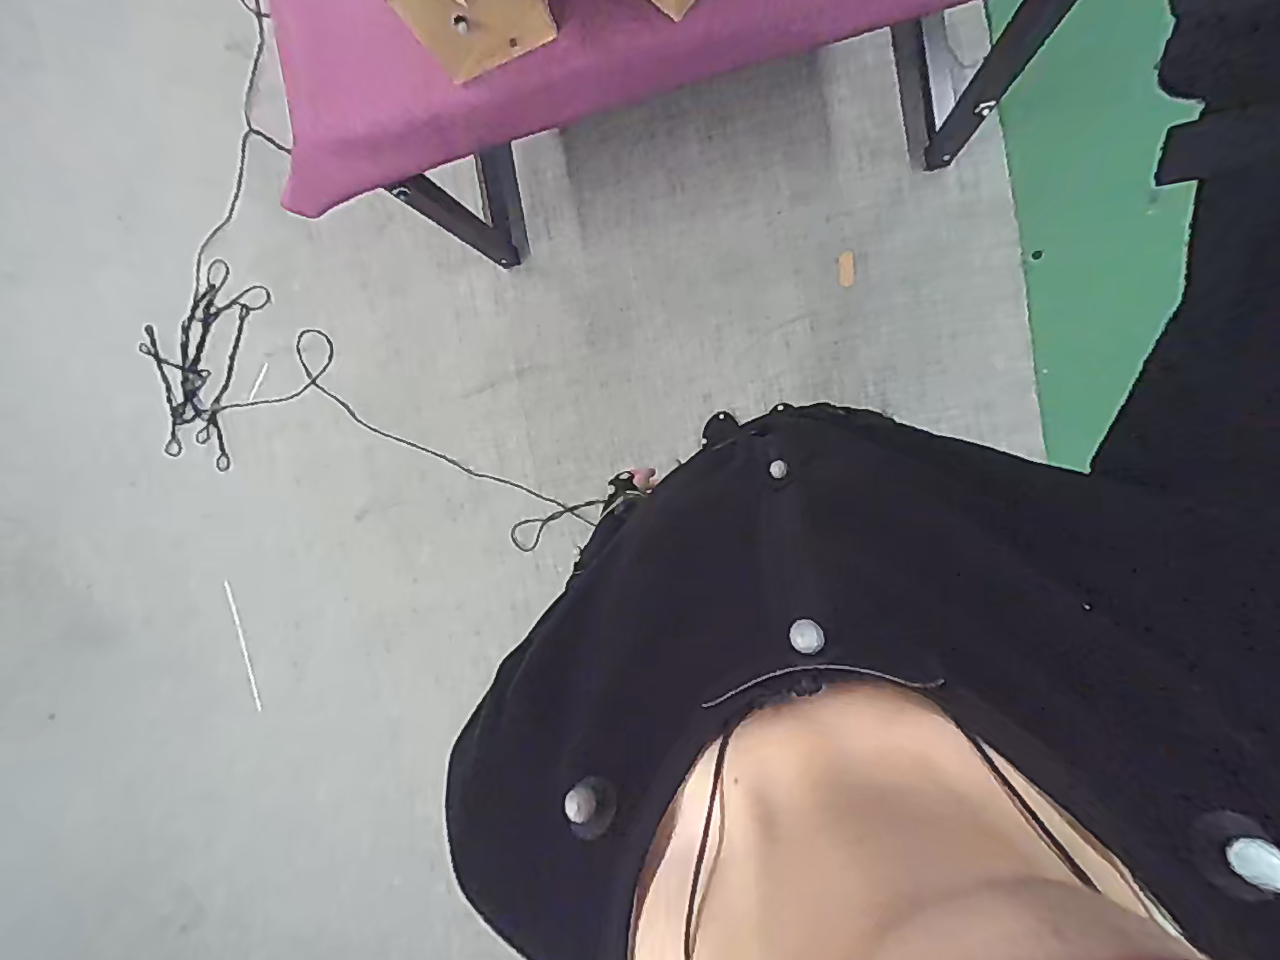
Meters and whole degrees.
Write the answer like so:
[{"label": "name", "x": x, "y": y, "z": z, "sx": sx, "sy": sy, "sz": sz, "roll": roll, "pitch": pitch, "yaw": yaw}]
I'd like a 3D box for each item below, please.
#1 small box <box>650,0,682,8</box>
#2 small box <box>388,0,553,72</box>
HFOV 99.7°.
[{"label": "small box", "x": 0.024, "y": -0.724, "z": 0.637, "sx": 0.179, "sy": 0.176, "sz": 0.168, "roll": 44, "pitch": 100, "yaw": 5}, {"label": "small box", "x": -0.230, "y": -0.673, "z": 0.692, "sx": 0.168, "sy": 0.176, "sz": 0.179, "roll": -16, "pitch": 91, "yaw": 12}]
